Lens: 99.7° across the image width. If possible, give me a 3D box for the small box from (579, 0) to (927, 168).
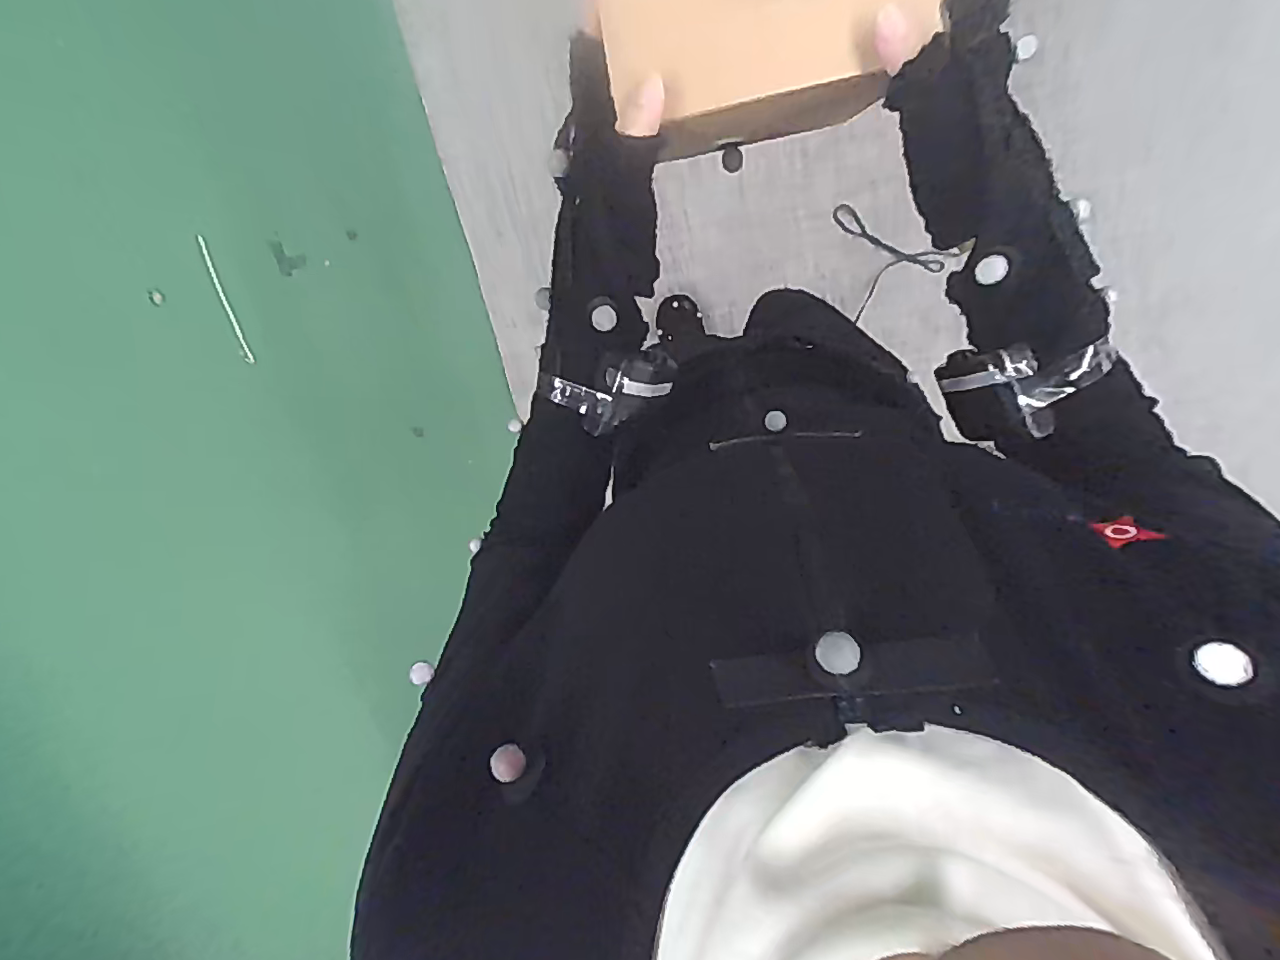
[{"bbox_3d":[0.050,-0.303,0.313,0.168,0.176,0.179,-7,113,7],"label":"small box"}]
